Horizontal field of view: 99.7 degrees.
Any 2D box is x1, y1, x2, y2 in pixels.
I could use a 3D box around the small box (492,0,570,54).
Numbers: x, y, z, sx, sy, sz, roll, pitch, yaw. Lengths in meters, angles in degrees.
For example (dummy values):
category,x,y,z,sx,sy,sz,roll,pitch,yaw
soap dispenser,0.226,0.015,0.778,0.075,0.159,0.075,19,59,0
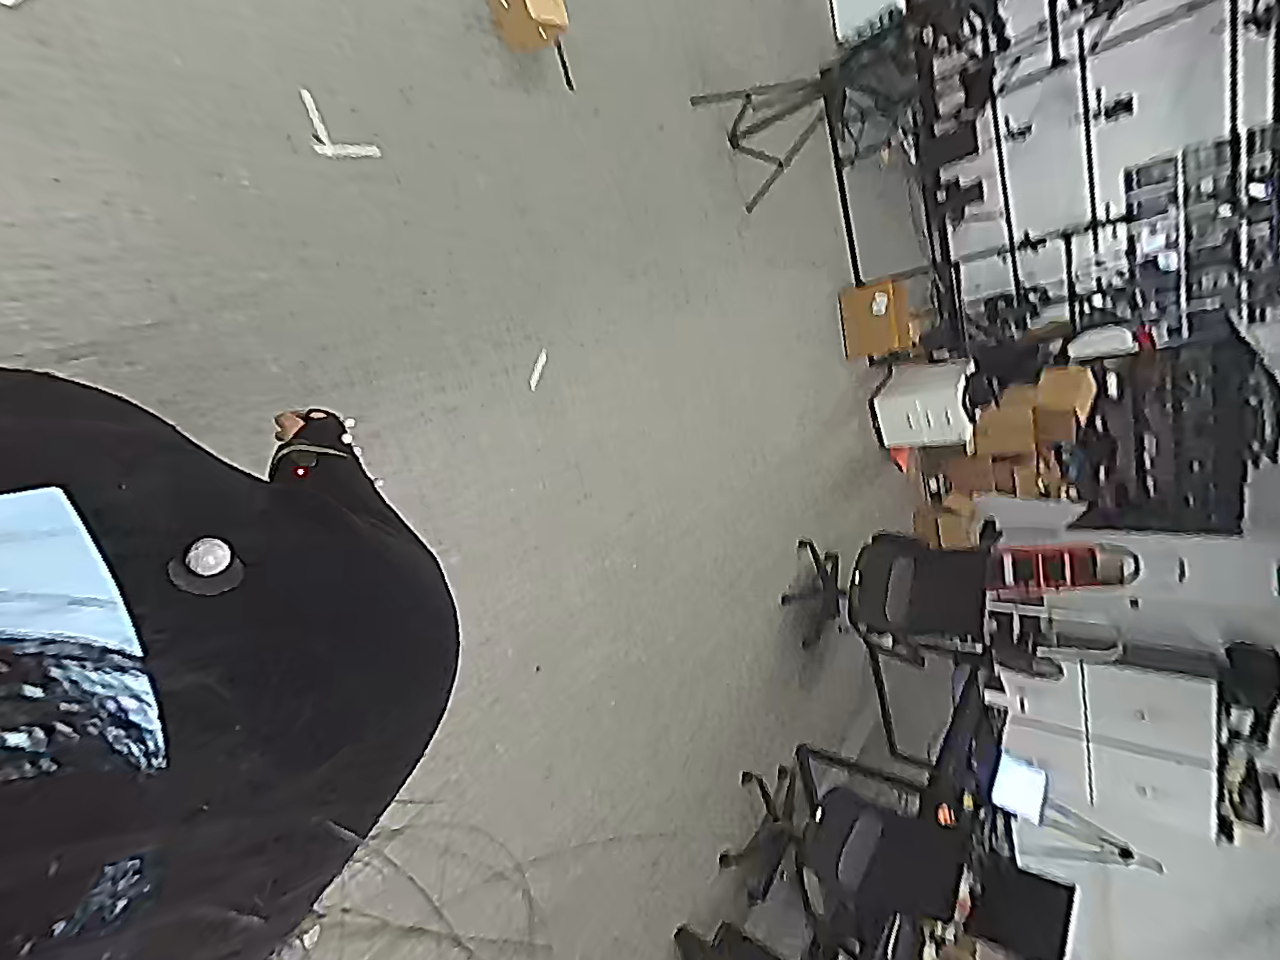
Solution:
category,x,y,z,sx,sy,sz,roll,pitch,yaw
small box,-0.368,-1.559,1.794,0.179,0.176,0.168,-32,111,-43
